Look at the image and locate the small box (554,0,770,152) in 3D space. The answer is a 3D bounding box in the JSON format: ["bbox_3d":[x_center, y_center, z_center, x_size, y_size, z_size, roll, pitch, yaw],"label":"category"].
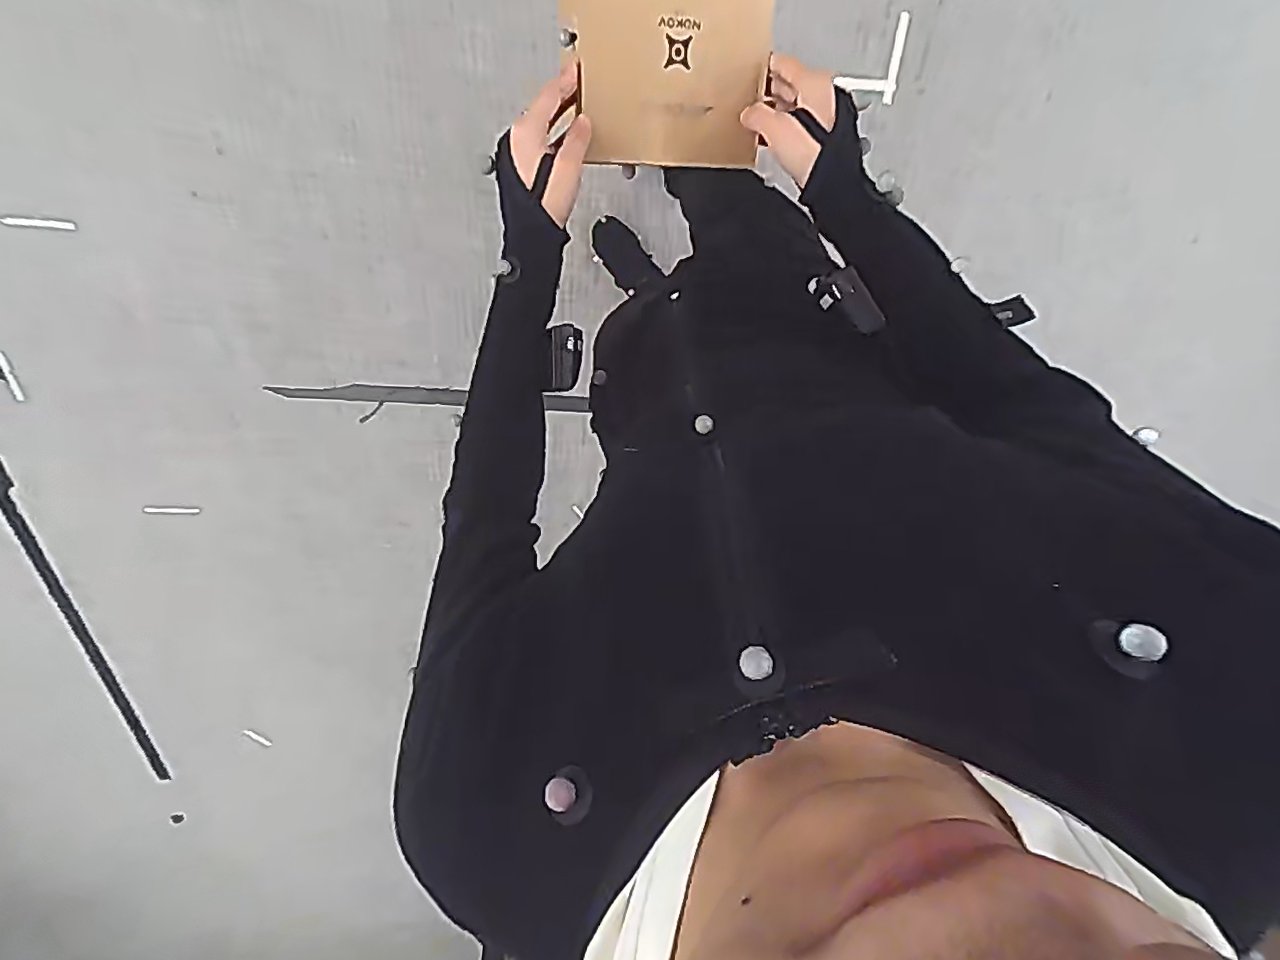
[{"bbox_3d":[0.010,-0.413,0.505,0.168,0.176,0.179,-5,122,-11],"label":"small box"}]
